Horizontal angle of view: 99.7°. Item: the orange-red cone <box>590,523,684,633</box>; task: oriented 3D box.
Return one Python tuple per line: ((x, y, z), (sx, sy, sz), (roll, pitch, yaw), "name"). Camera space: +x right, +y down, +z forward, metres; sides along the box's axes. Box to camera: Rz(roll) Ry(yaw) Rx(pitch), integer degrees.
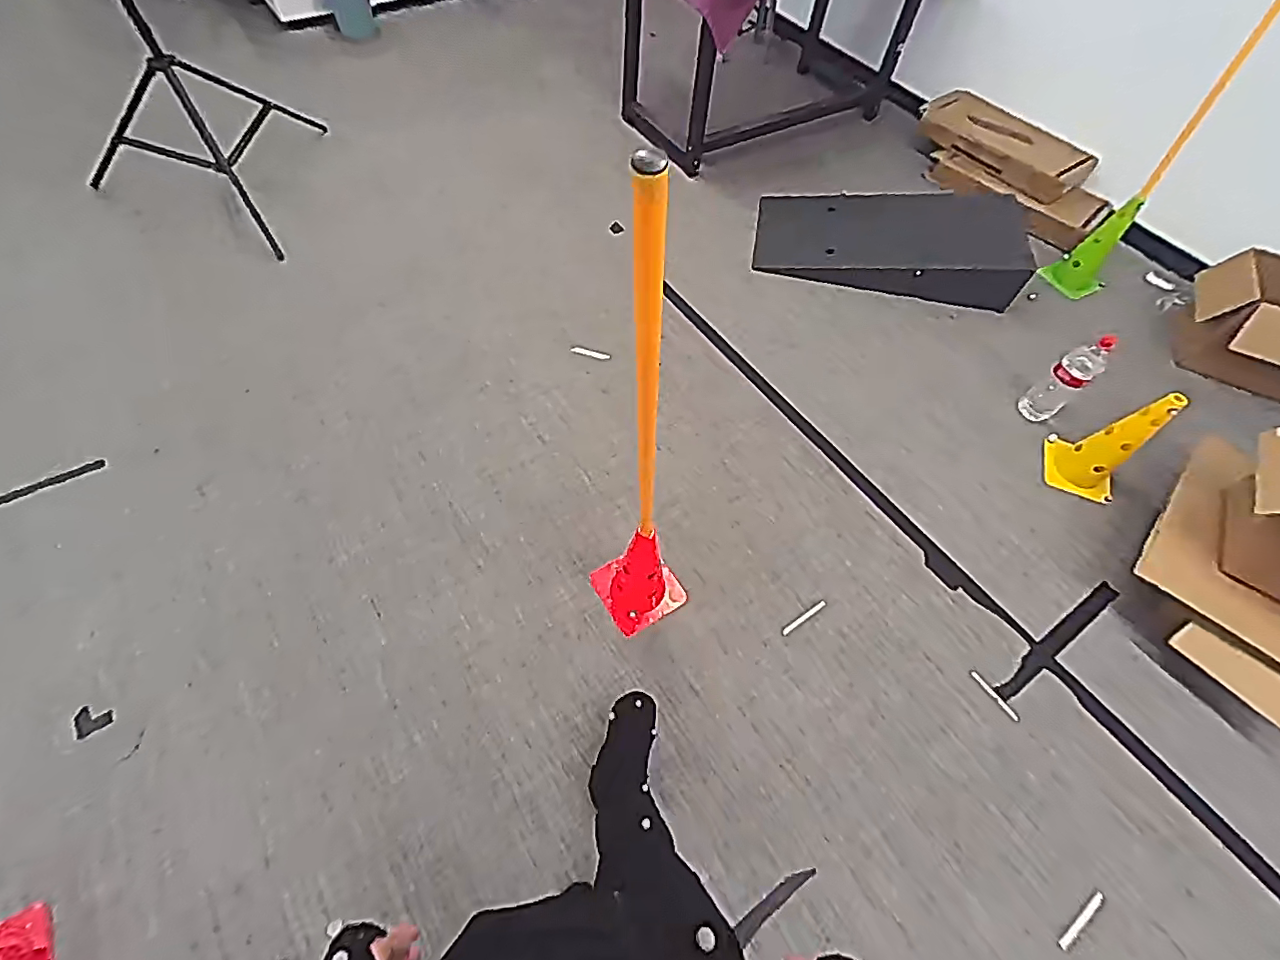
((0.003, 0.193, 1.272), (0.199, 0.360, 0.198), (-26, 65, -19), "orange-red cone")
